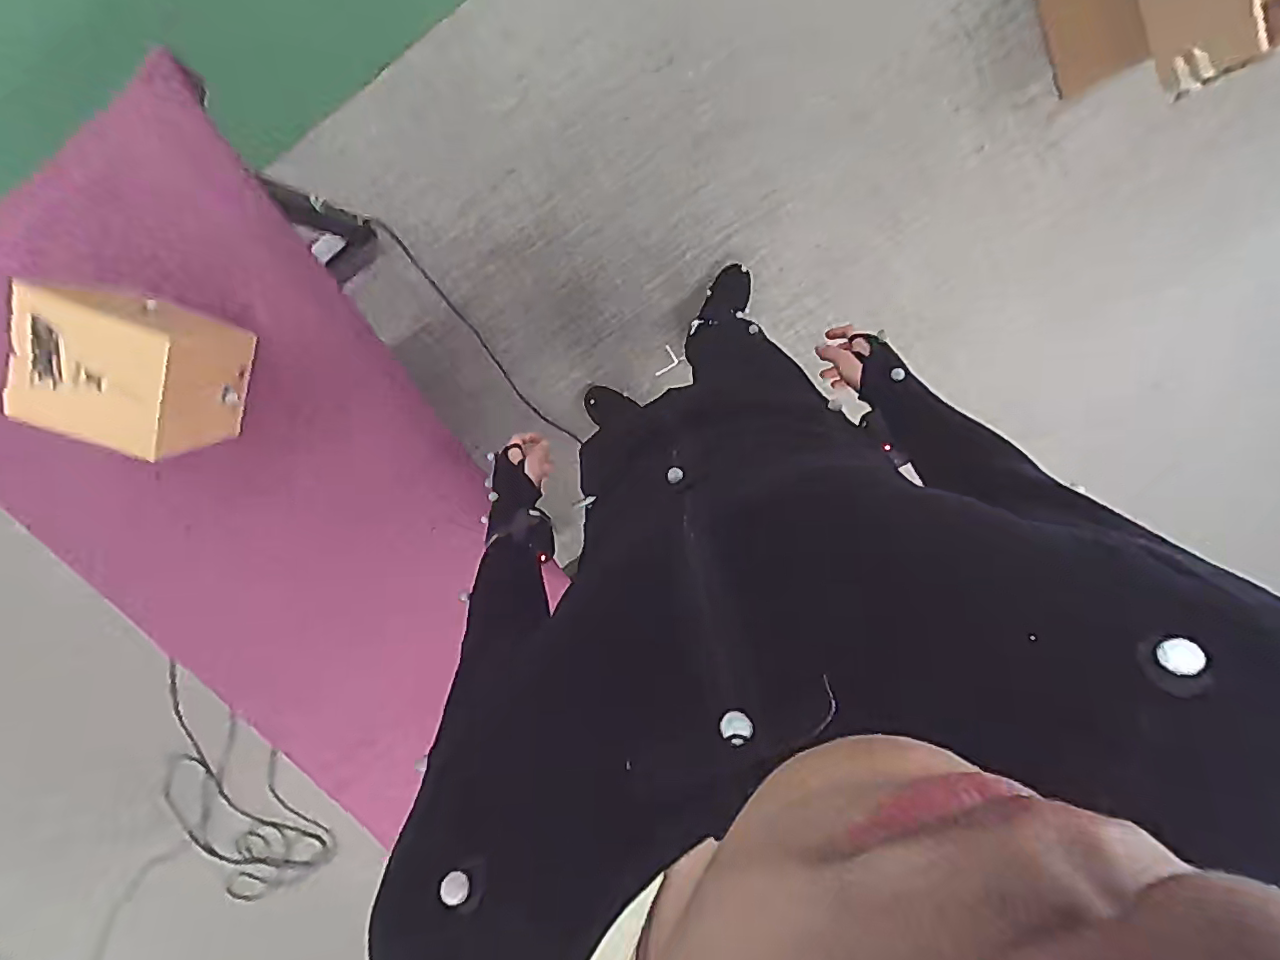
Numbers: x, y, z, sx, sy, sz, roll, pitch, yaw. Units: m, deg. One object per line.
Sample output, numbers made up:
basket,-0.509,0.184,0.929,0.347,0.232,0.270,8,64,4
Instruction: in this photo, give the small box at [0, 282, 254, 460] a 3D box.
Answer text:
small box,-0.671,-0.147,0.724,0.179,0.176,0.168,20,105,-9
